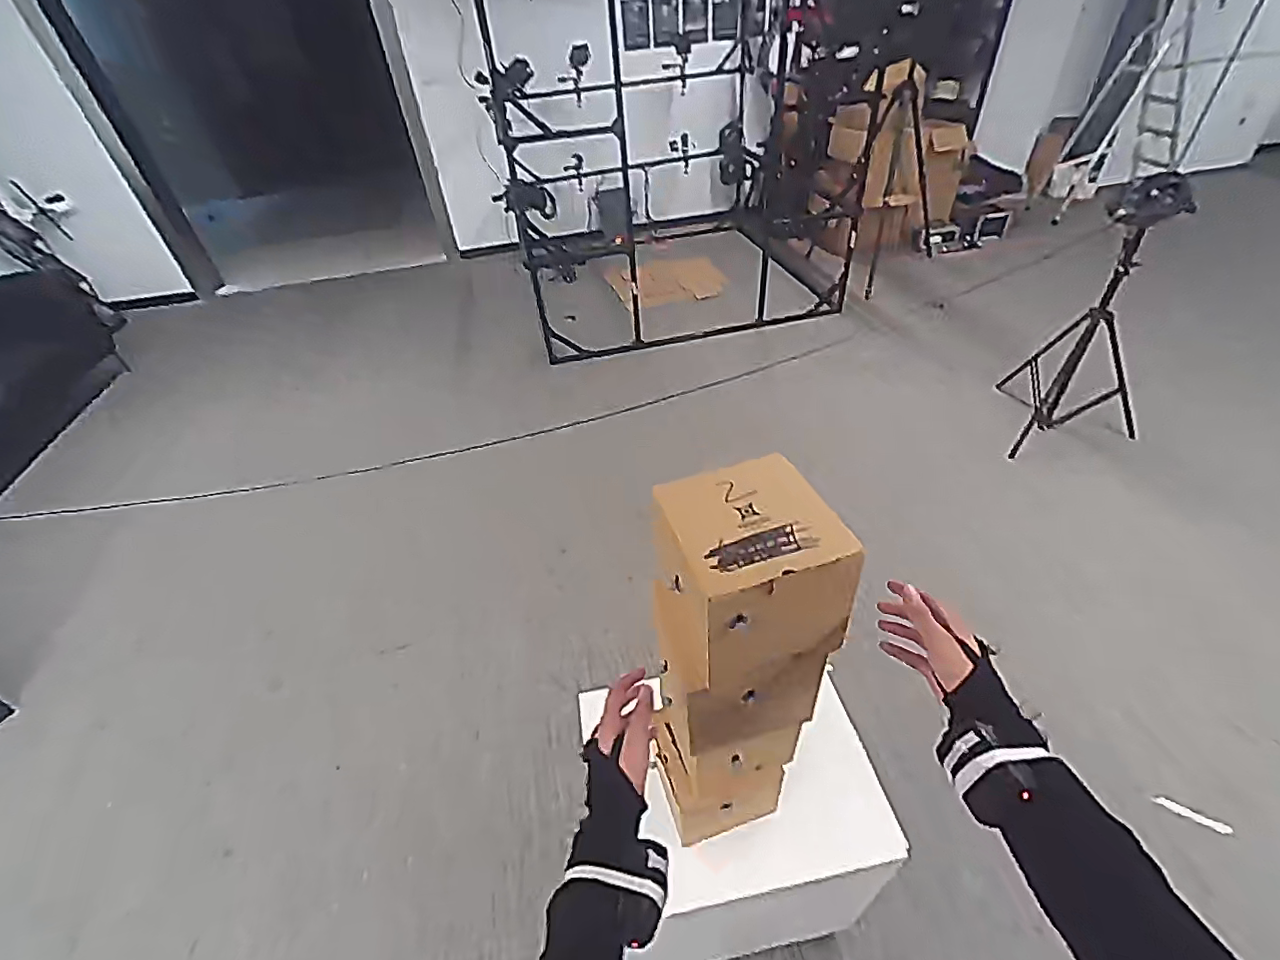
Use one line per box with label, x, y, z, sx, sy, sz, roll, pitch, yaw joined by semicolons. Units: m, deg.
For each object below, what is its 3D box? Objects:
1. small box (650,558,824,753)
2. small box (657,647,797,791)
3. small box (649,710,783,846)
small box;0.122;0.237;0.727;0.179;0.176;0.168;-12;41;-8
small box;0.134;0.354;0.843;0.168;0.176;0.179;-14;40;-10
small box;0.126;0.493;0.931;0.179;0.176;0.168;-14;41;-11
